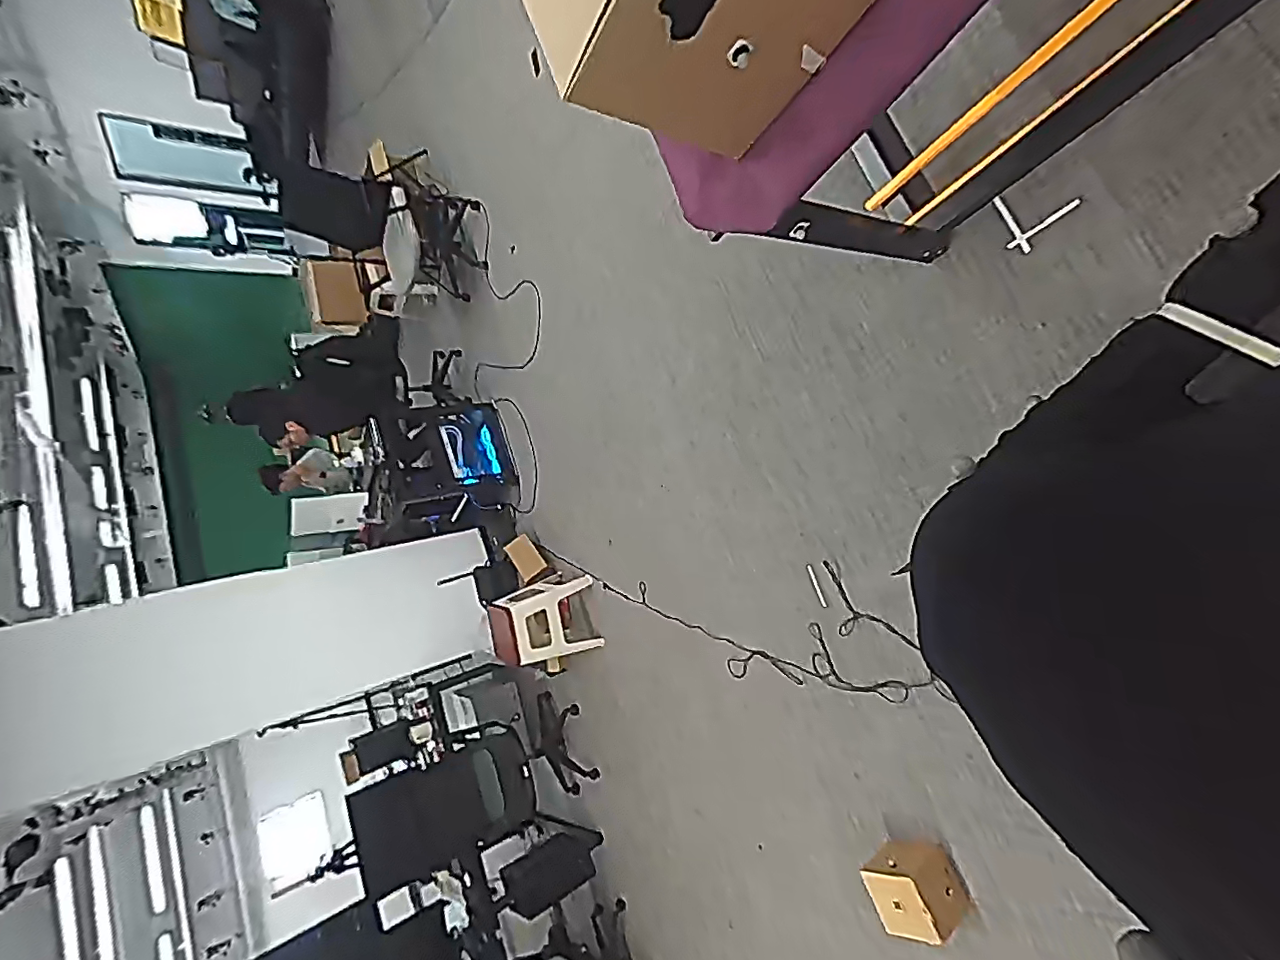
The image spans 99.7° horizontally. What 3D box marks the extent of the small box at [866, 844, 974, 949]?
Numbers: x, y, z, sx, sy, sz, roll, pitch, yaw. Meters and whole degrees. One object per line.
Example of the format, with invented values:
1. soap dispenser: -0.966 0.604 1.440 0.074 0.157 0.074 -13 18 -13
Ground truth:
1. small box: 0.779 1.147 1.507 0.179 0.176 0.168 -42 65 49
